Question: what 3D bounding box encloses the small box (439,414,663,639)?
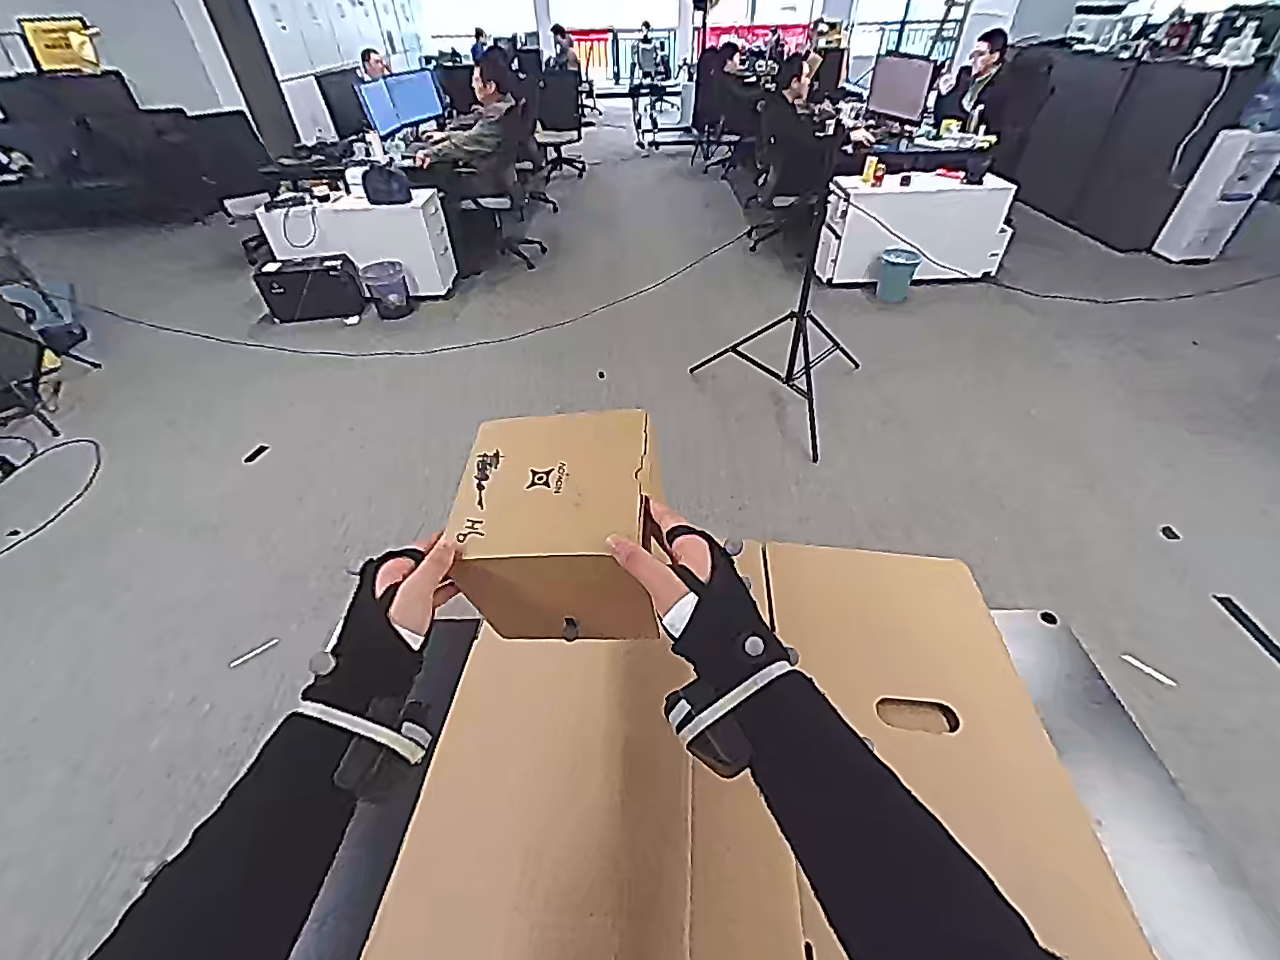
[{"bbox_3d":[-0.069,0.051,0.552,0.179,0.176,0.168,-2,50,7],"label":"small box"}]
